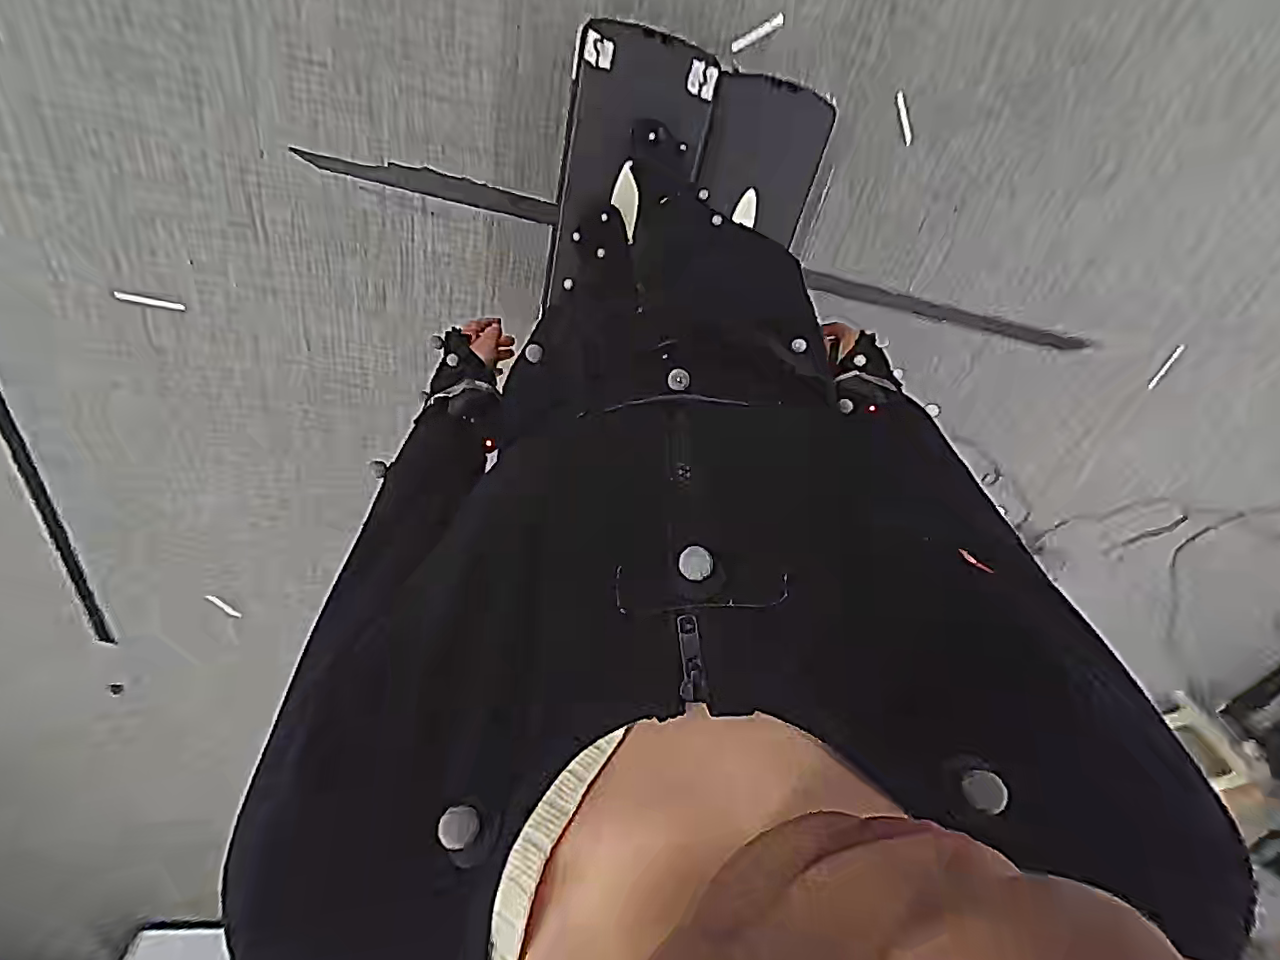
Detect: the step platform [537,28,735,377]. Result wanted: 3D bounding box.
[{"bbox_3d":[-0.035,-0.586,1.240,0.286,0.204,0.684,12,119,-13],"label":"step platform"}]
